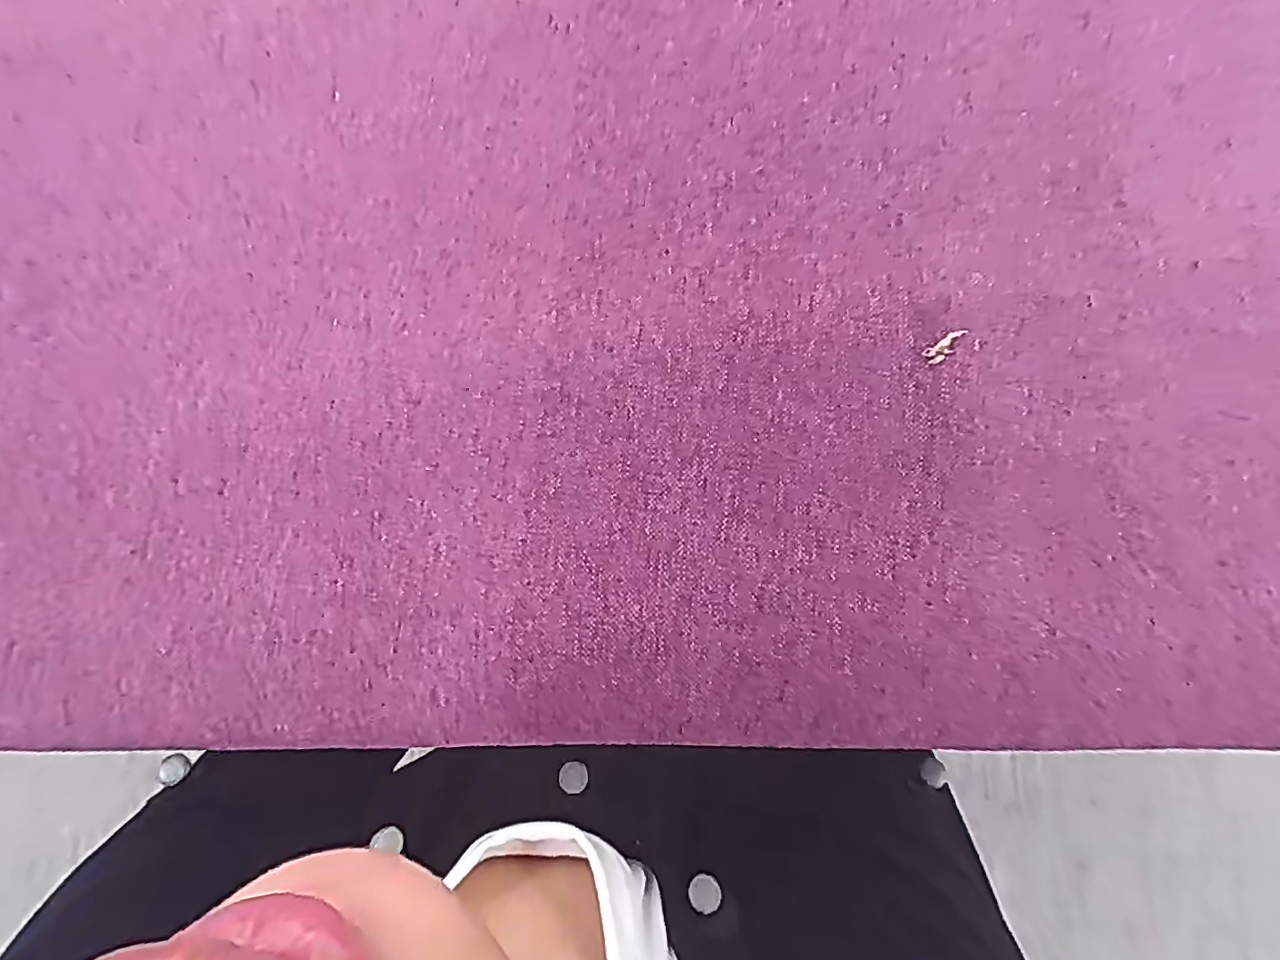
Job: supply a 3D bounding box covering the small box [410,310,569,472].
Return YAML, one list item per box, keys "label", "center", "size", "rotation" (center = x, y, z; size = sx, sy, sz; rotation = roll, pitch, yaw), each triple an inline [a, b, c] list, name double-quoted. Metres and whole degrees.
- label: "small box"
  center: [-0.192, -0.109, 0.728]
  size: [0.168, 0.176, 0.179]
  rotation: [-3, 85, 2]
